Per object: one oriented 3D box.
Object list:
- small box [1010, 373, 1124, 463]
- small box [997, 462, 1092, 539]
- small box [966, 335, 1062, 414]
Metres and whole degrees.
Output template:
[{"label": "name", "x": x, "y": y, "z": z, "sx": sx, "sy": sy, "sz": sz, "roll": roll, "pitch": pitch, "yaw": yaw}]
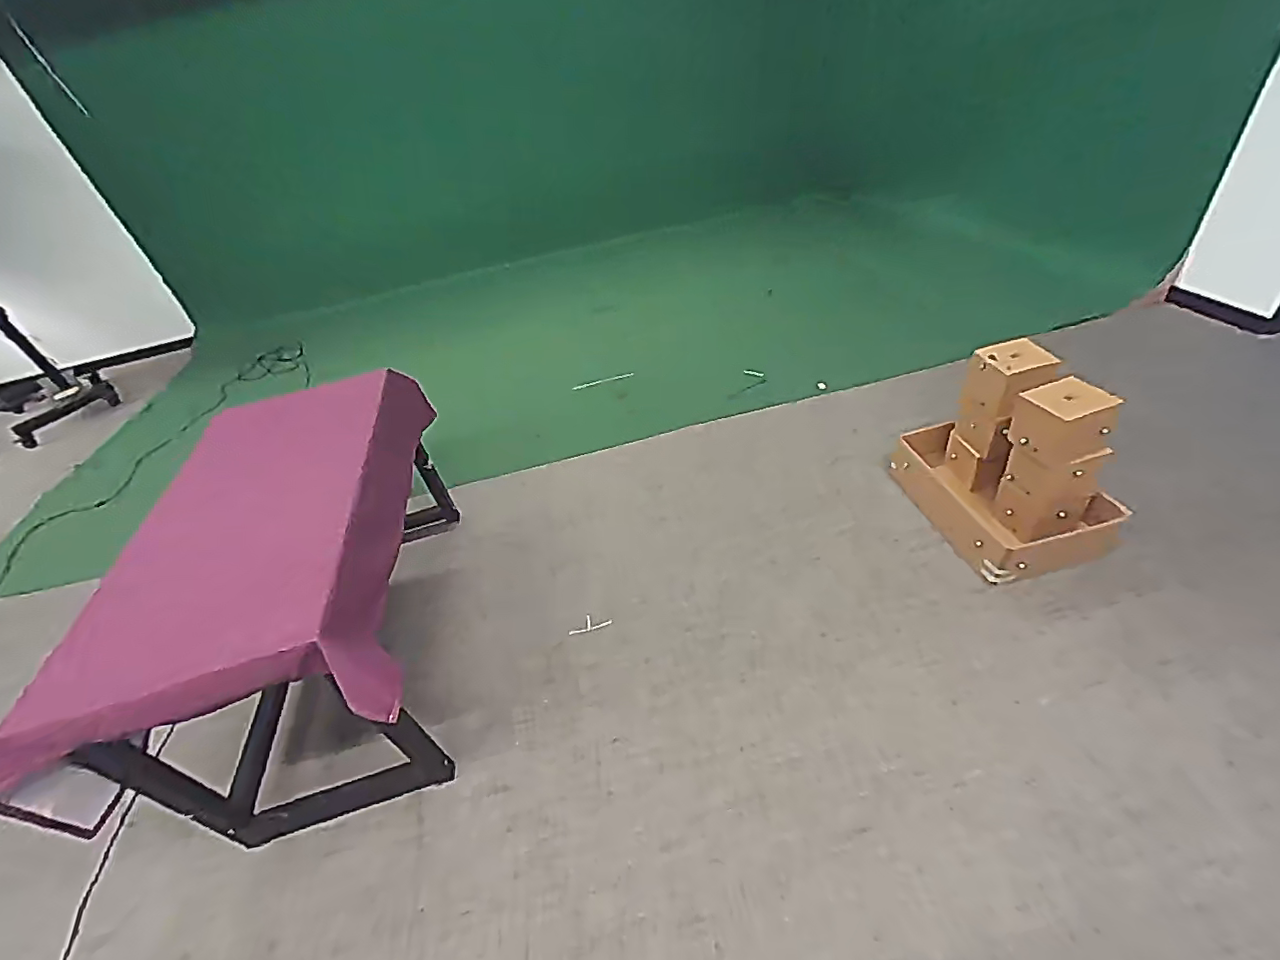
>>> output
[{"label": "small box", "x": 1.207, "y": -0.176, "z": 1.545, "sx": 0.179, "sy": 0.176, "sz": 0.168, "roll": -19, "pitch": 39, "yaw": -4}, {"label": "small box", "x": 1.292, "y": 0.068, "z": 1.748, "sx": 0.179, "sy": 0.176, "sz": 0.168, "roll": -15, "pitch": 40, "yaw": -1}, {"label": "small box", "x": 1.190, "y": -0.337, "z": 1.737, "sx": 0.179, "sy": 0.176, "sz": 0.168, "roll": -14, "pitch": 40, "yaw": -1}]
